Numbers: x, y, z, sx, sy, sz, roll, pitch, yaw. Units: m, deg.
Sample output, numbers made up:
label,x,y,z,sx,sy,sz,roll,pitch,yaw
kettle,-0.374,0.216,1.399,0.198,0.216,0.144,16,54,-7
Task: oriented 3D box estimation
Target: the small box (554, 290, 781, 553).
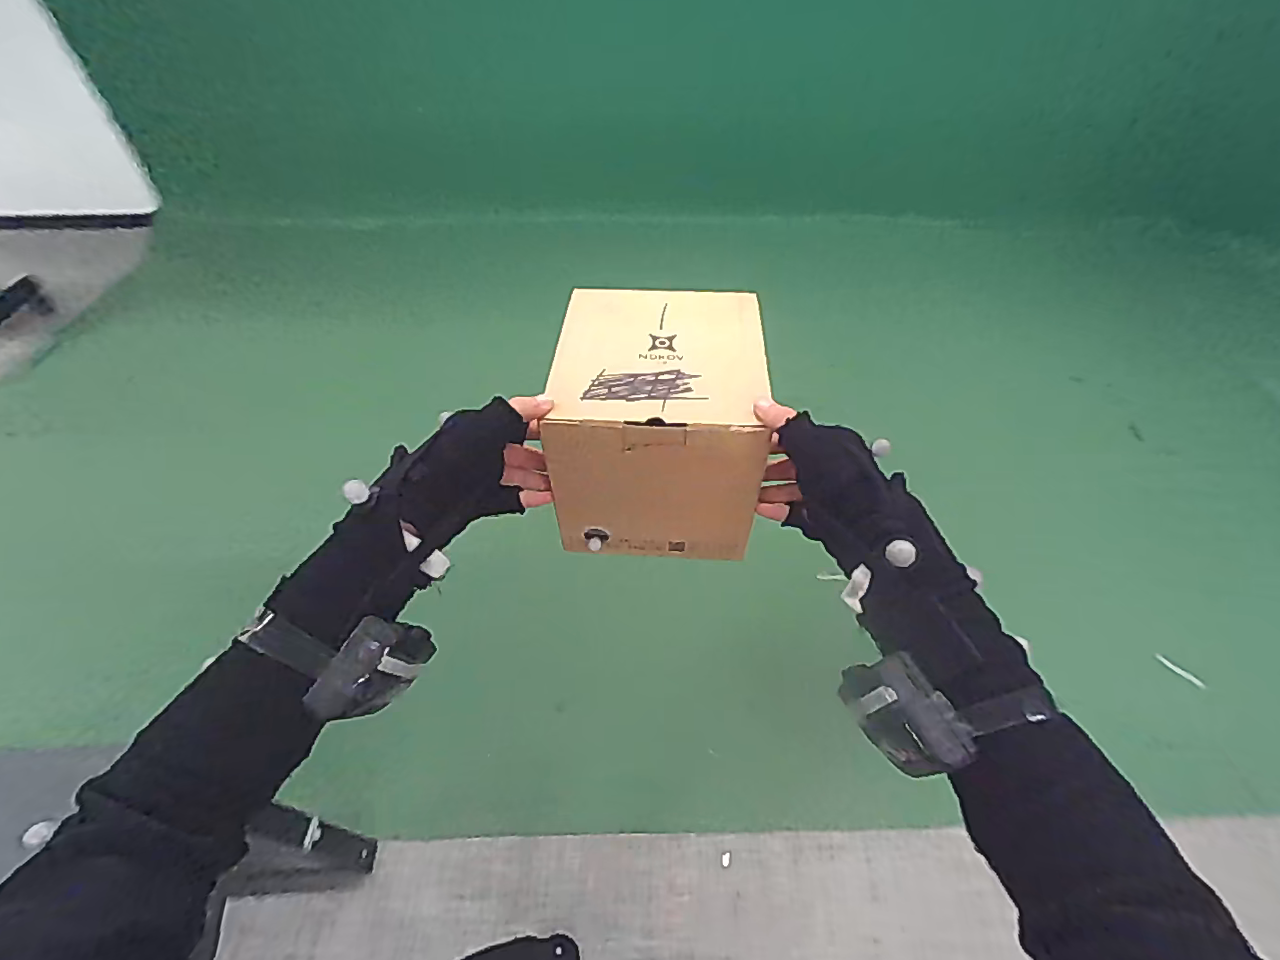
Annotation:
label,x,y,z,sx,sy,sz,roll,pitch,yaw
small box,0.027,-0.050,0.494,0.168,0.176,0.179,4,49,3
